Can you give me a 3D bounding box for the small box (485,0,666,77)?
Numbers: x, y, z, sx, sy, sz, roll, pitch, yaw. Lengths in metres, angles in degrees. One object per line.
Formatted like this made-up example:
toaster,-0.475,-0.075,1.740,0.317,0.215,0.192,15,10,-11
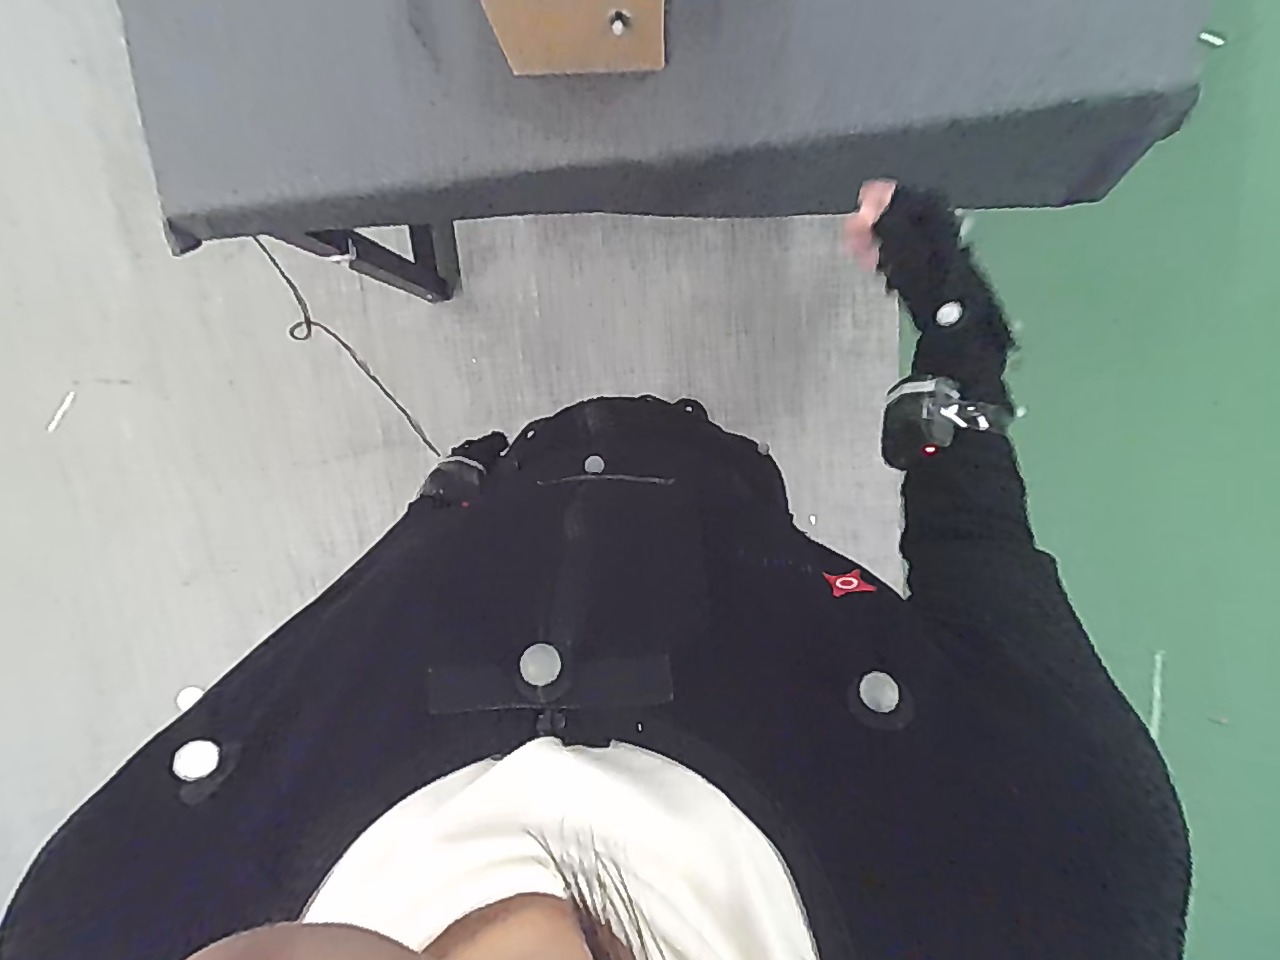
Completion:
small box,-0.060,-0.539,0.538,0.179,0.176,0.168,0,96,4
